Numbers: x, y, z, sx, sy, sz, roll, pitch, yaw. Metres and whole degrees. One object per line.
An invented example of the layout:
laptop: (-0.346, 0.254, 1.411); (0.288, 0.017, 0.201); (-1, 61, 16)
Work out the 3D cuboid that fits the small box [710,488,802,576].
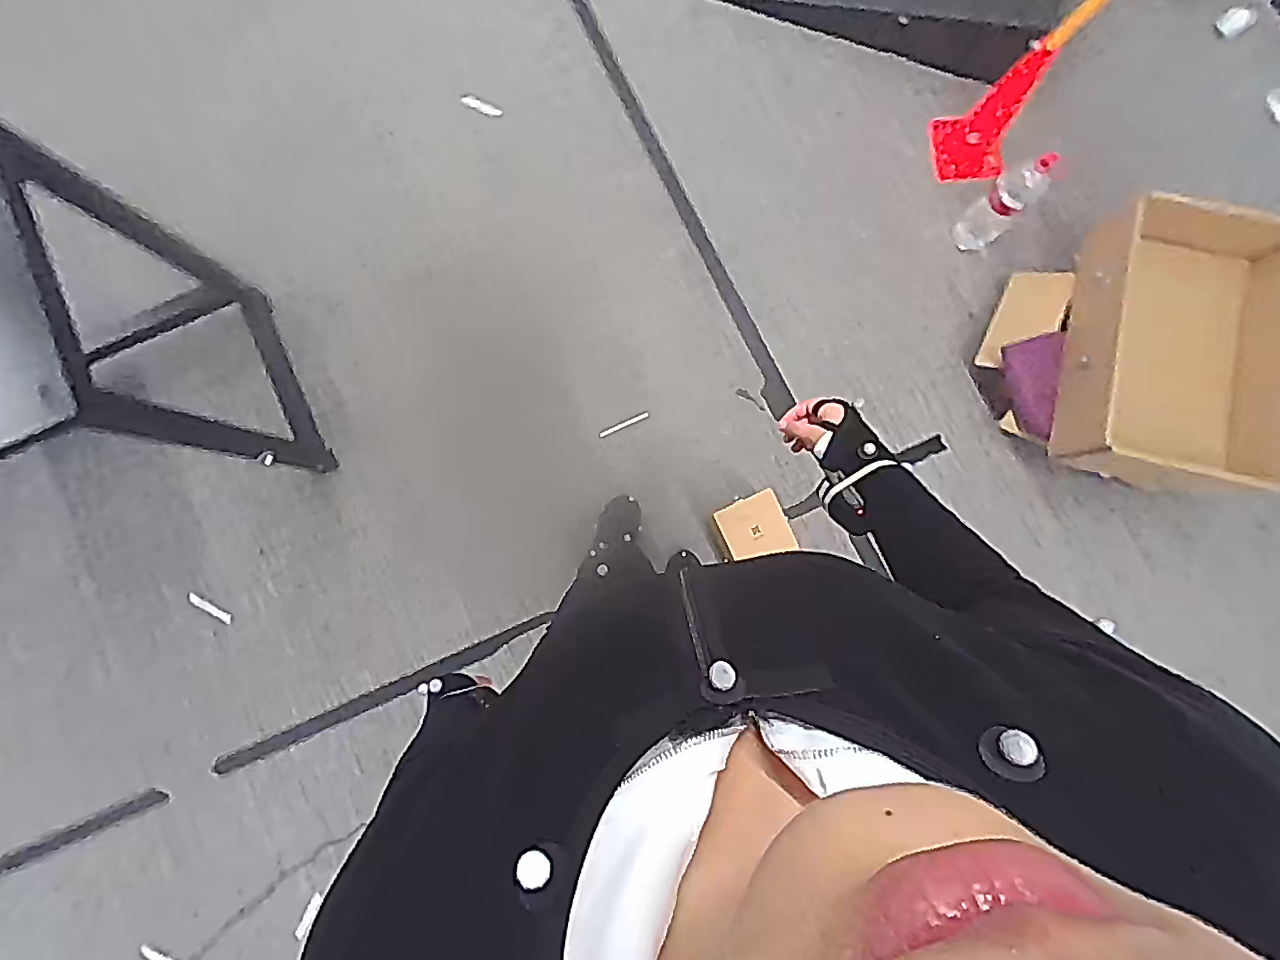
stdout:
small box: (0.300, 0.137, 1.429); (0.168, 0.176, 0.179); (-25, 83, -2)
